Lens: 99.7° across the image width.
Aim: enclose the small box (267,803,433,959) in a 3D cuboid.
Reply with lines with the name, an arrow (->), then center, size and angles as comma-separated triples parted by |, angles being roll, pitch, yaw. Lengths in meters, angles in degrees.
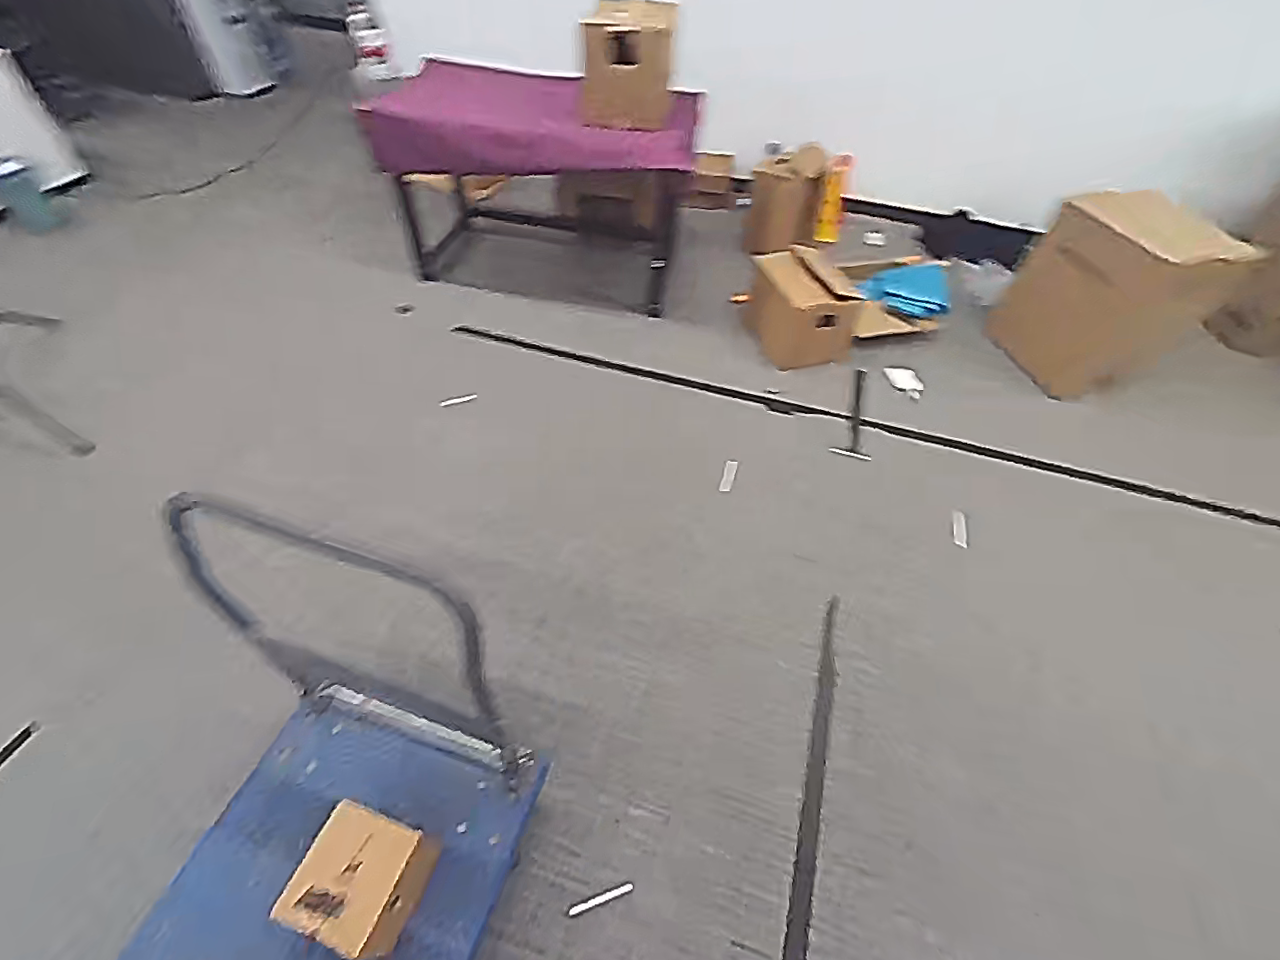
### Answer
small box -> -0.495, 0.712, 0.957 | 0.168, 0.176, 0.179 | 17, 50, 10
